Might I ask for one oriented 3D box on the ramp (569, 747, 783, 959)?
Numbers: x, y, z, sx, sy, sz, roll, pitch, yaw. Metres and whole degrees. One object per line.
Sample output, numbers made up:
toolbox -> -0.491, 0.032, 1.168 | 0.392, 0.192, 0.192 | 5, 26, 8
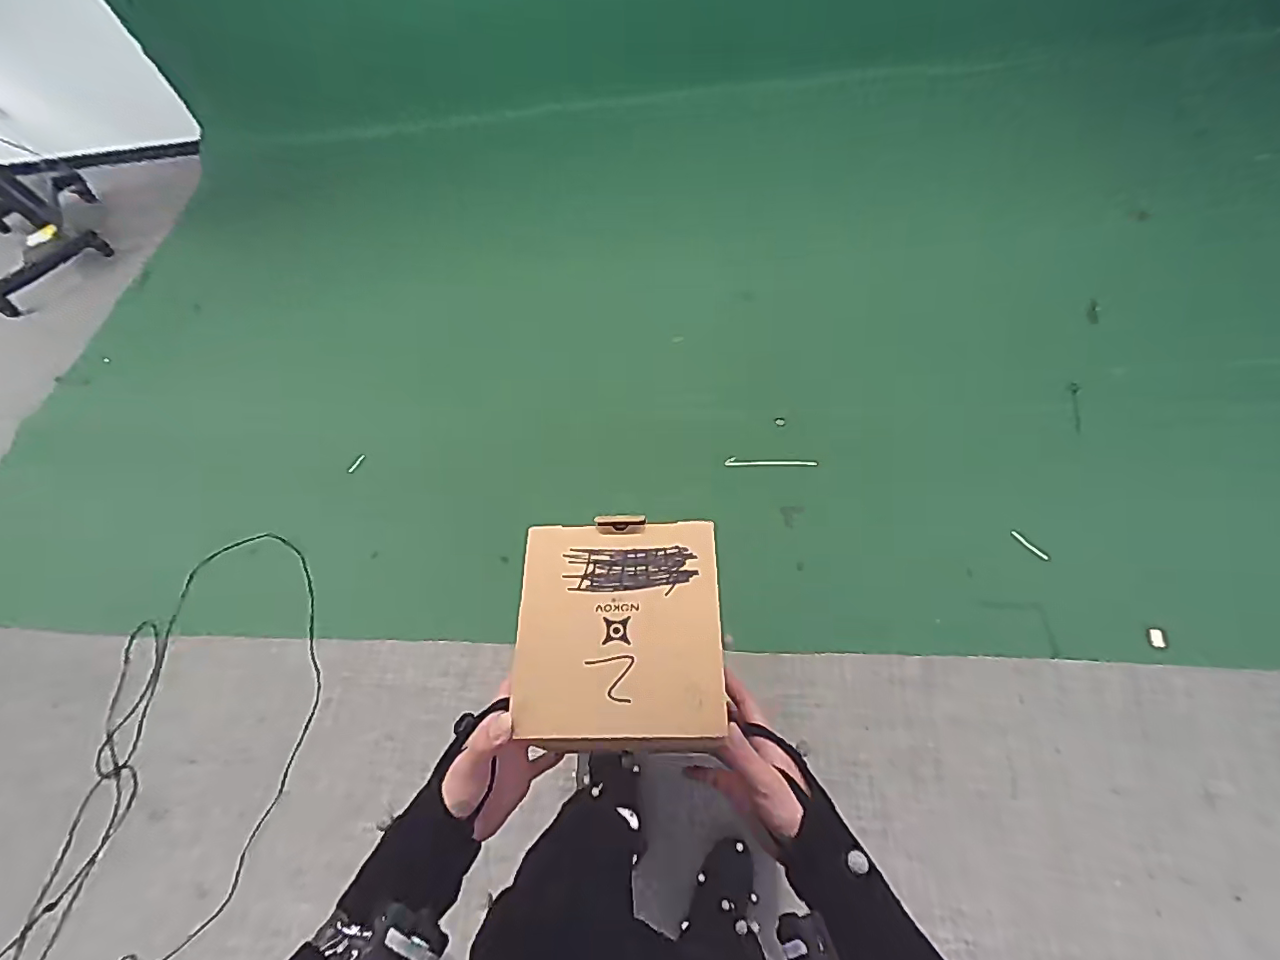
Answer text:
ramp -> 0.079, 1.152, 1.206 | 0.509, 0.206, 0.991 | -3, 62, 6
